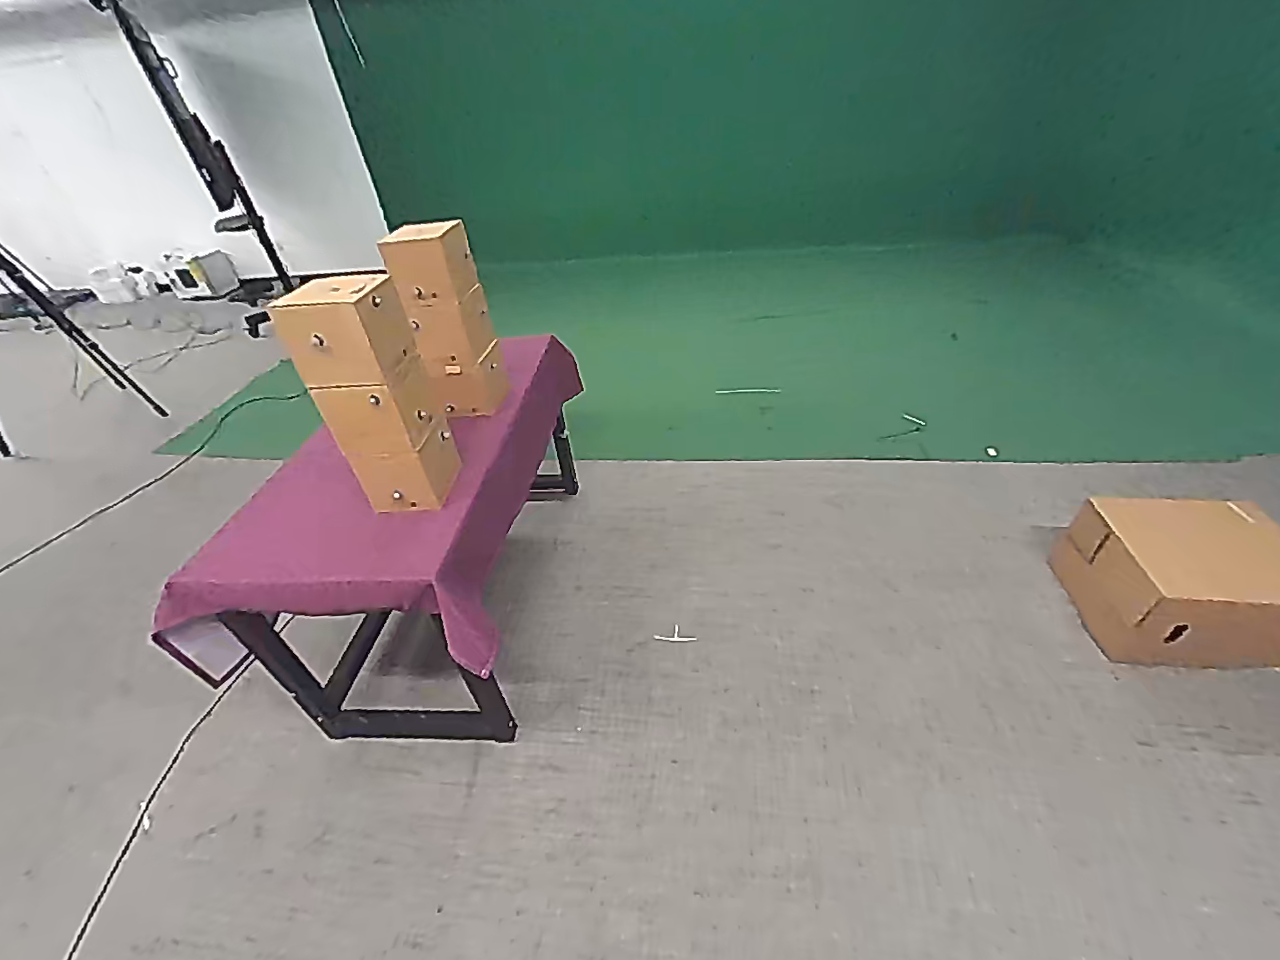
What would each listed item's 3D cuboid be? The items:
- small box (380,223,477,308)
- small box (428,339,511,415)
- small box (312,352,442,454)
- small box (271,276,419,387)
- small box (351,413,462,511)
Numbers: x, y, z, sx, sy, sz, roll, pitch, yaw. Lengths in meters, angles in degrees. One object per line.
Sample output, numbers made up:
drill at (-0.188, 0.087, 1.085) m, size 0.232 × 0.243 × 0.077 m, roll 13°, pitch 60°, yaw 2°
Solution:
small box at (-0.551, -0.570, 1.439) m, size 0.168 × 0.176 × 0.179 m, roll -2°, pitch 38°, yaw 7°
small box at (-0.503, -0.306, 1.628) m, size 0.168 × 0.176 × 0.179 m, roll -1°, pitch 38°, yaw 8°
small box at (-0.570, -0.169, 1.198) m, size 0.179 × 0.176 × 0.168 m, roll -2°, pitch 38°, yaw 6°
small box at (-0.585, -0.298, 1.097) m, size 0.179 × 0.176 × 0.168 m, roll -2°, pitch 38°, yaw 7°
small box at (-0.548, -0.043, 1.299) m, size 0.168 × 0.176 × 0.179 m, roll -3°, pitch 38°, yaw 7°
